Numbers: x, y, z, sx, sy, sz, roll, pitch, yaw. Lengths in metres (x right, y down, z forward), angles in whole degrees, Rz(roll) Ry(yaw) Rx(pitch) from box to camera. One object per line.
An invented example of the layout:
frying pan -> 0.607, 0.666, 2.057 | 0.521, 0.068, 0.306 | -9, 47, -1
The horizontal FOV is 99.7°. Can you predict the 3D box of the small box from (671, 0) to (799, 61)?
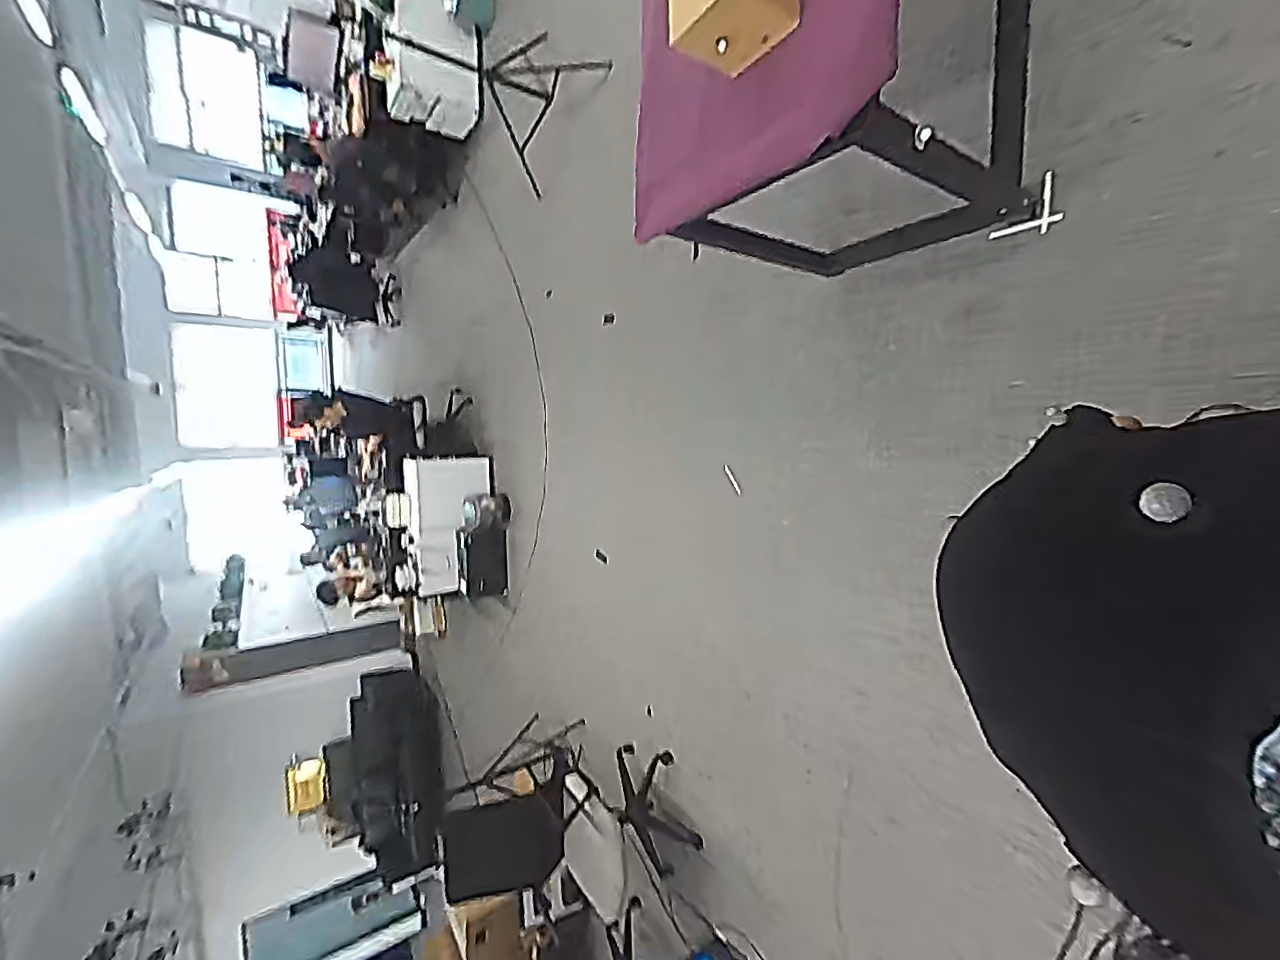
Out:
small box -> 0.169, -0.890, 0.959 | 0.168, 0.176, 0.179 | 3, 95, 55
